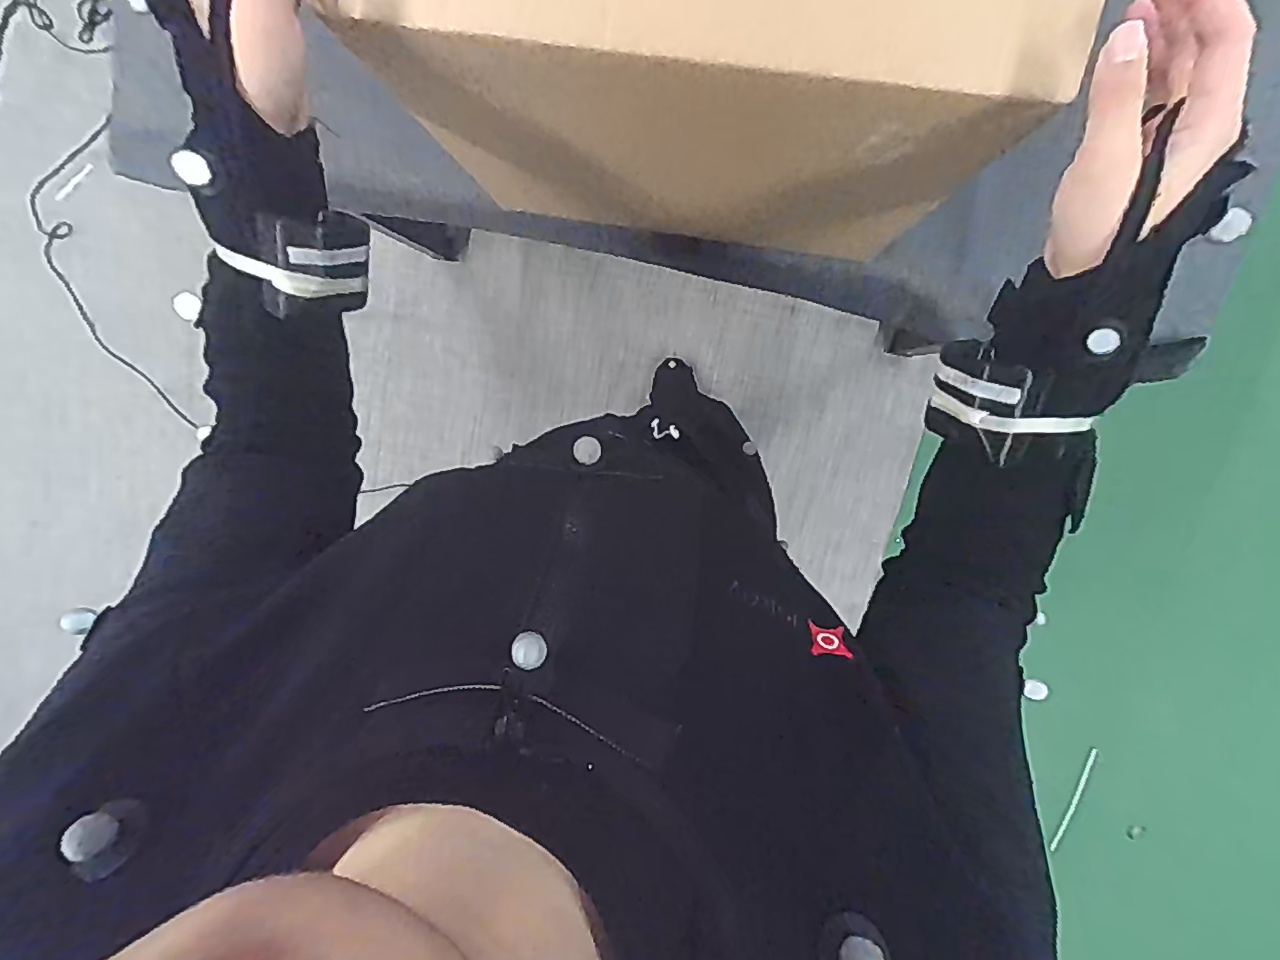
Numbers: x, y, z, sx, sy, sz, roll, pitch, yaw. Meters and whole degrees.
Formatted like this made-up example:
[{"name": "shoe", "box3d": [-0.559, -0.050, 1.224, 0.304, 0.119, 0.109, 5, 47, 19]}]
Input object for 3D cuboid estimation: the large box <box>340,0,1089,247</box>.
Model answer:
[{"name": "large box", "box3d": [0.057, -0.400, 0.414, 0.408, 0.320, 0.320, 9, 100, 2]}]
